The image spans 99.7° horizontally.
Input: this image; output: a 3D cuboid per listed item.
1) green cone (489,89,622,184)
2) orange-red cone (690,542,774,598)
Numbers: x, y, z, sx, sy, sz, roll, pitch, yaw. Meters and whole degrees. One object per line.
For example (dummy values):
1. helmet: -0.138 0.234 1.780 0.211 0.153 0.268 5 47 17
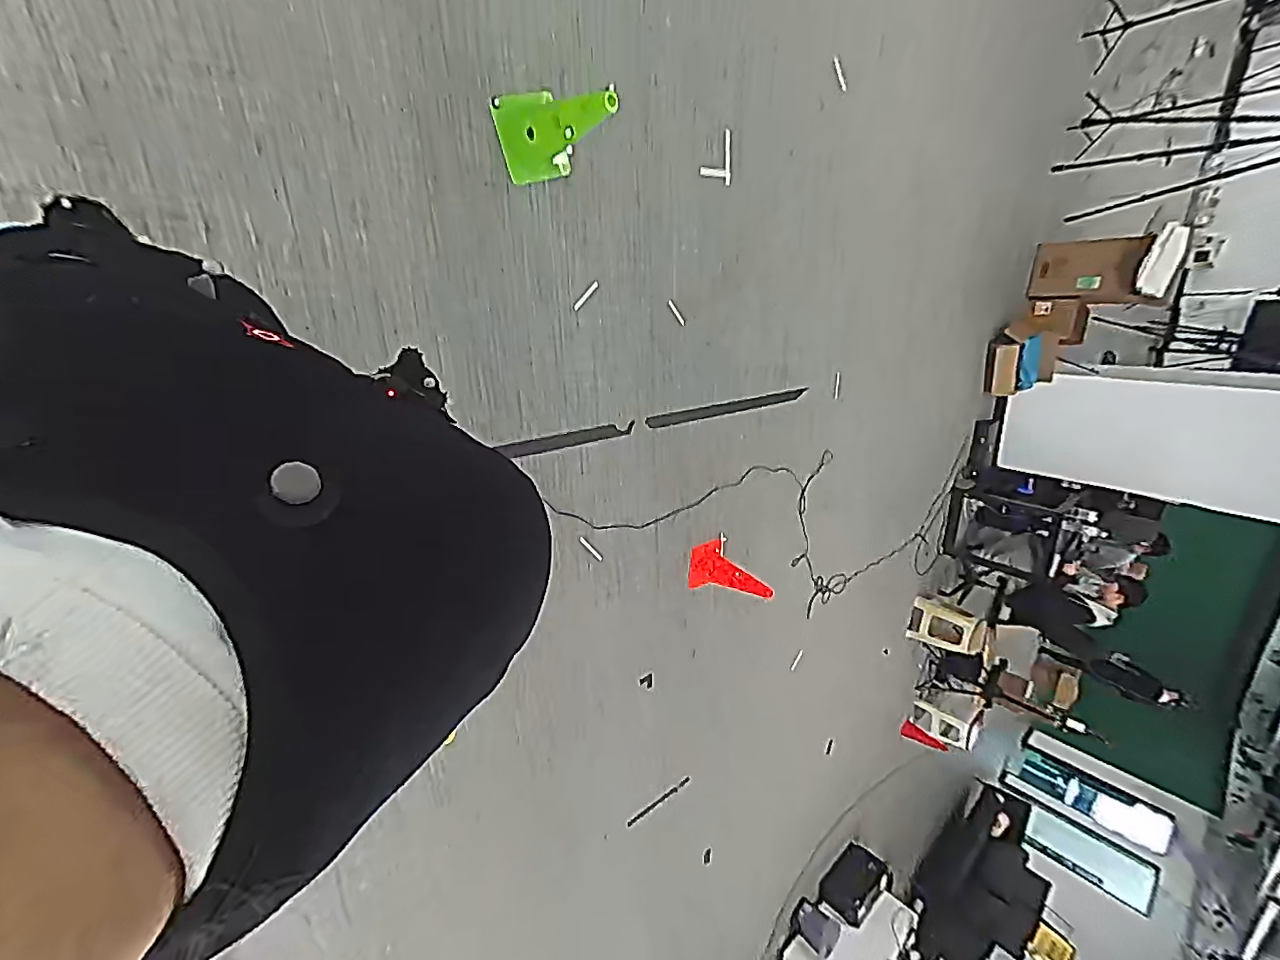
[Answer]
1. green cone: -0.177 -0.878 1.326 0.202 0.368 0.200 -34 124 -31
2. orange-red cone: 0.401 0.412 2.250 0.199 0.360 0.198 -7 107 -39
